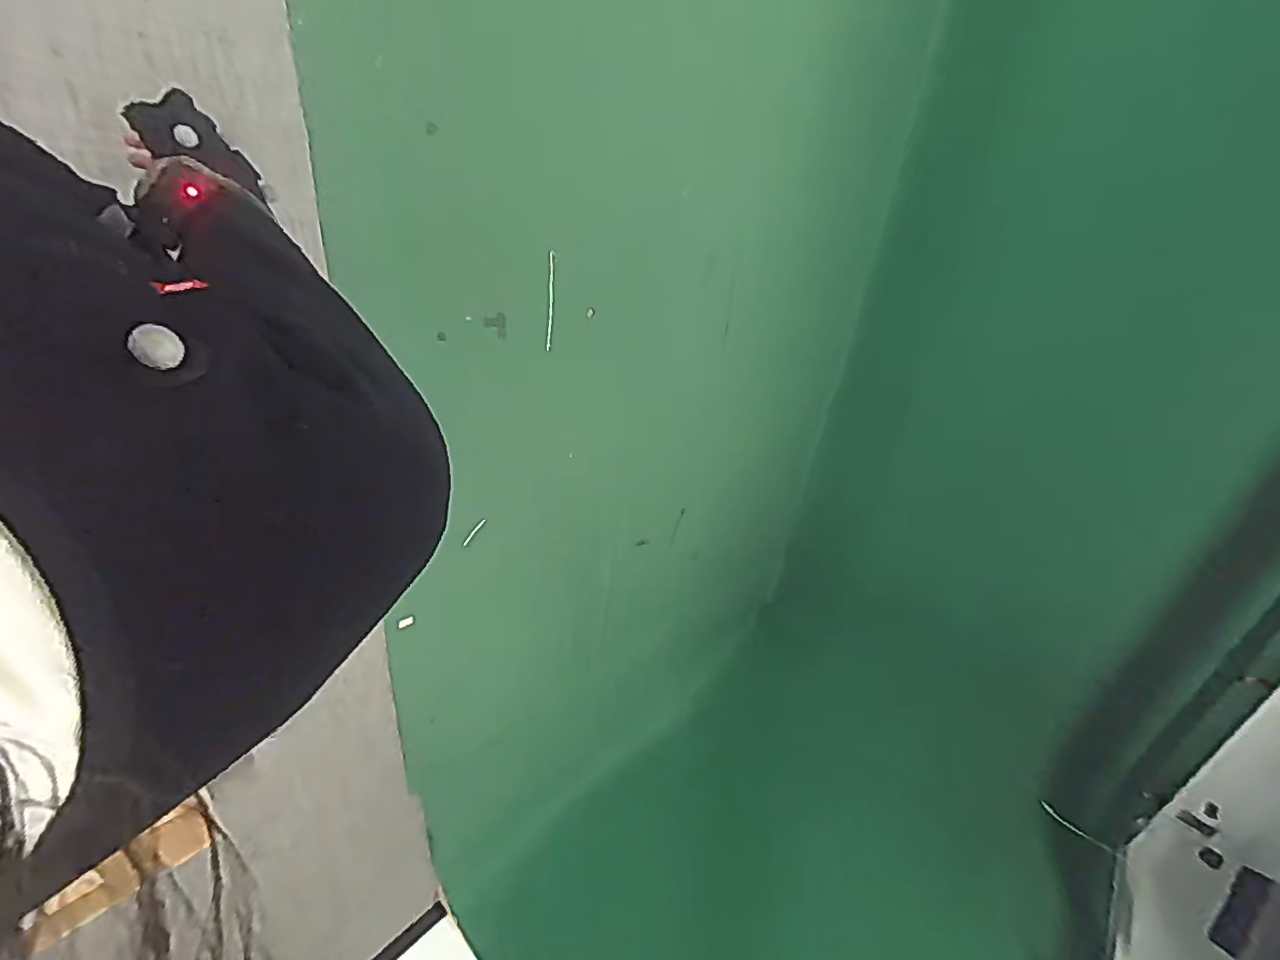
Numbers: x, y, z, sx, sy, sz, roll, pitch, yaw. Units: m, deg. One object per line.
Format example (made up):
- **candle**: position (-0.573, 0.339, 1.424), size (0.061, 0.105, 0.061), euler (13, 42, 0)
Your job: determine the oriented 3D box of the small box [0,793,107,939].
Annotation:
- **small box**: position (-1.325, 0.830, 1.184), size (0.168, 0.176, 0.179), euler (-25, 132, -41)
